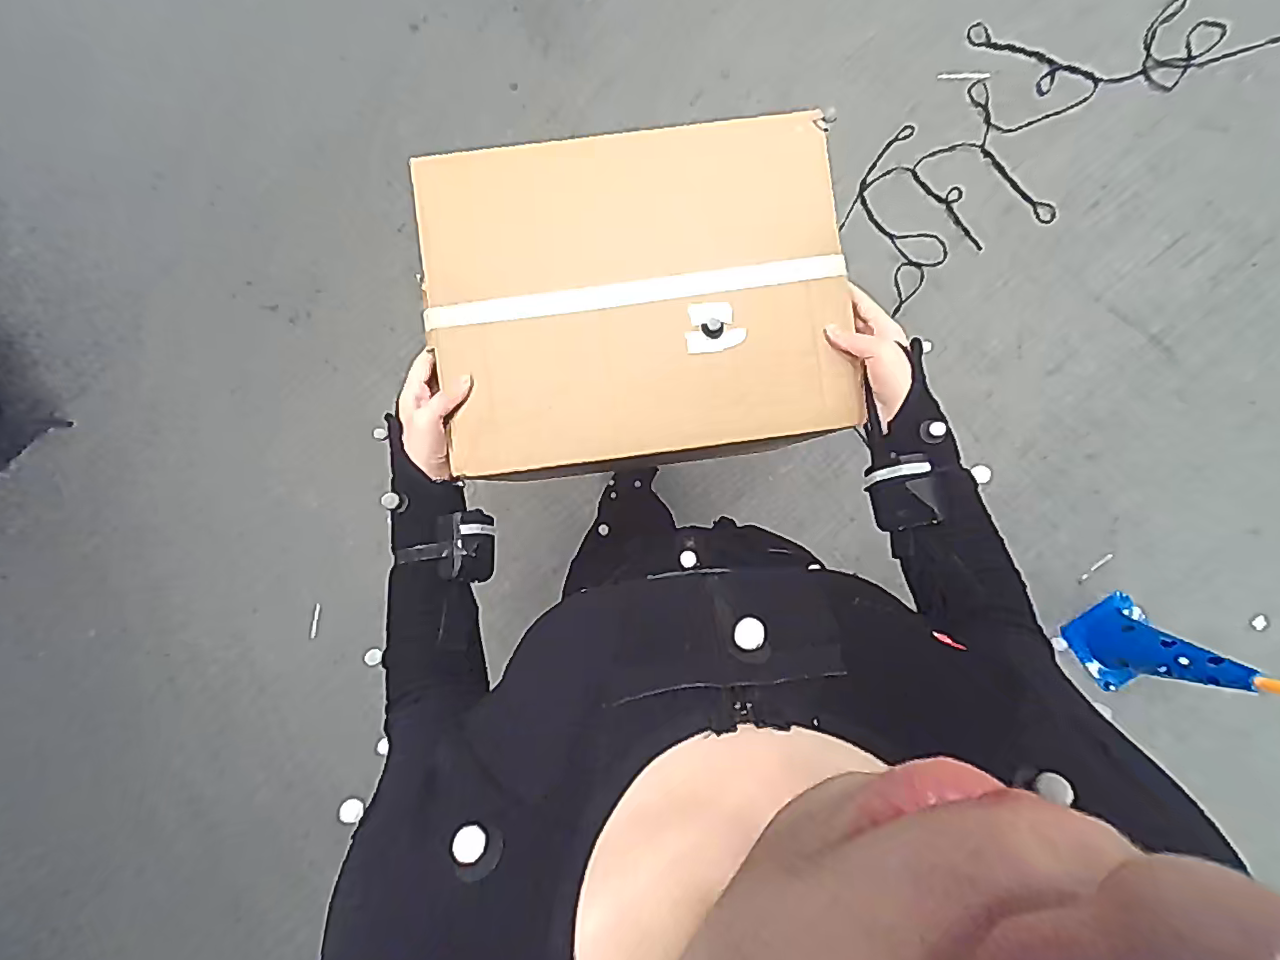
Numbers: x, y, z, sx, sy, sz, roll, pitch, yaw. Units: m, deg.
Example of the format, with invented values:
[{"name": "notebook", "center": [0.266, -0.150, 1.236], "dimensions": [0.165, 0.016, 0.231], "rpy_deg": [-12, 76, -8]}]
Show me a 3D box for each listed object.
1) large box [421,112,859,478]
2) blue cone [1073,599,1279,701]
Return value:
[{"name": "large box", "center": [-0.005, -0.187, 0.681], "dimensions": [0.408, 0.320, 0.320], "rpy_deg": [-8, 89, -2]}, {"name": "blue cone", "center": [1.224, 0.413, 1.227], "dimensions": [0.193, 0.380, 0.192], "rpy_deg": [-34, 85, 1]}]
